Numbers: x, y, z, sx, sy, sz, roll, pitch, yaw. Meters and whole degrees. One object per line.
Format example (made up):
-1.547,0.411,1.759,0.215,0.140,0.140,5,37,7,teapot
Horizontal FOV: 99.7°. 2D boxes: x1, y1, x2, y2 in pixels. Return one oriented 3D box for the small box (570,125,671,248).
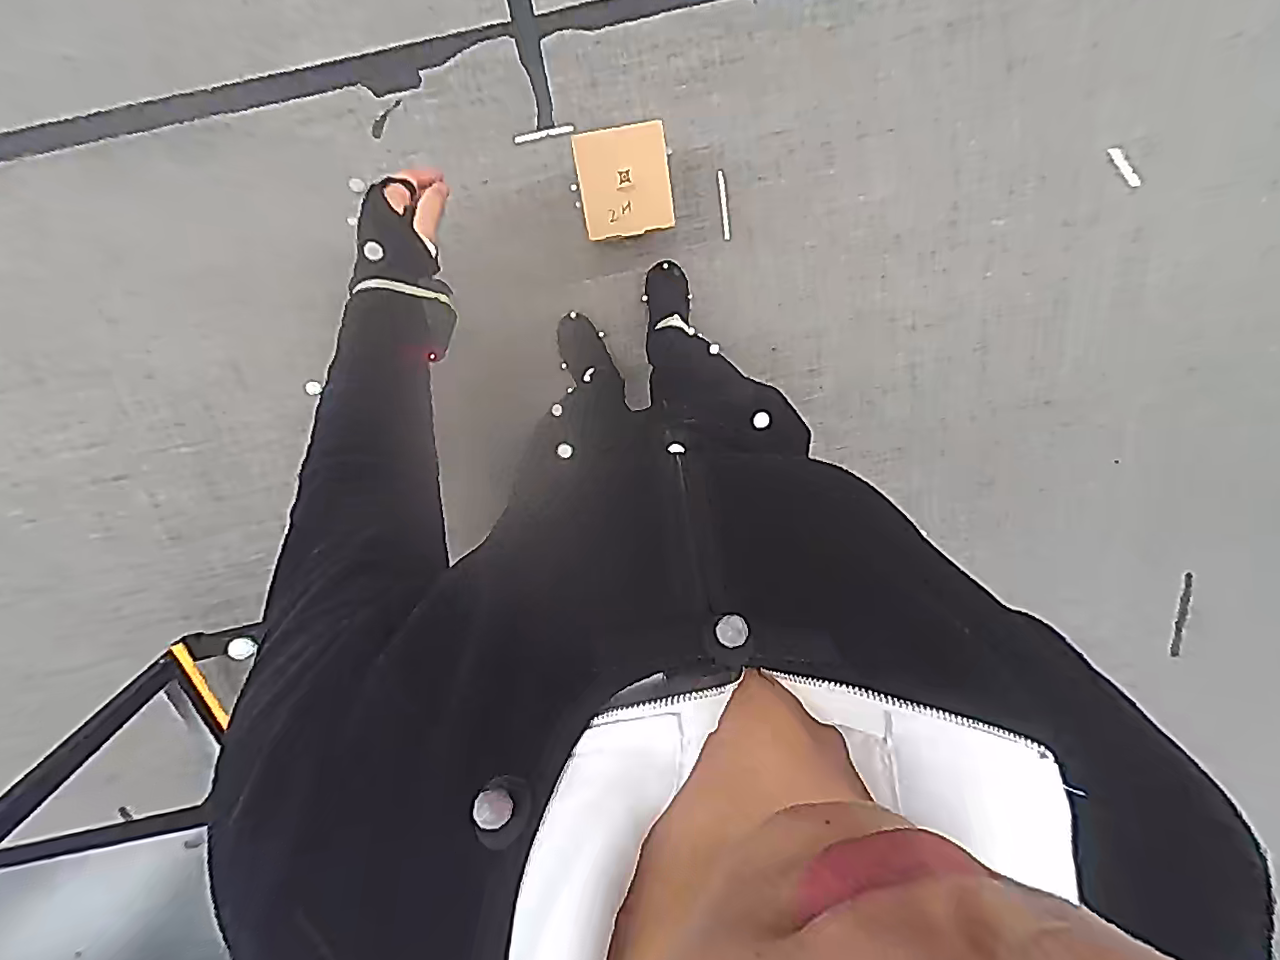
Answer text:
-0.041,-0.561,1.056,0.168,0.176,0.179,-10,112,-1,small box
